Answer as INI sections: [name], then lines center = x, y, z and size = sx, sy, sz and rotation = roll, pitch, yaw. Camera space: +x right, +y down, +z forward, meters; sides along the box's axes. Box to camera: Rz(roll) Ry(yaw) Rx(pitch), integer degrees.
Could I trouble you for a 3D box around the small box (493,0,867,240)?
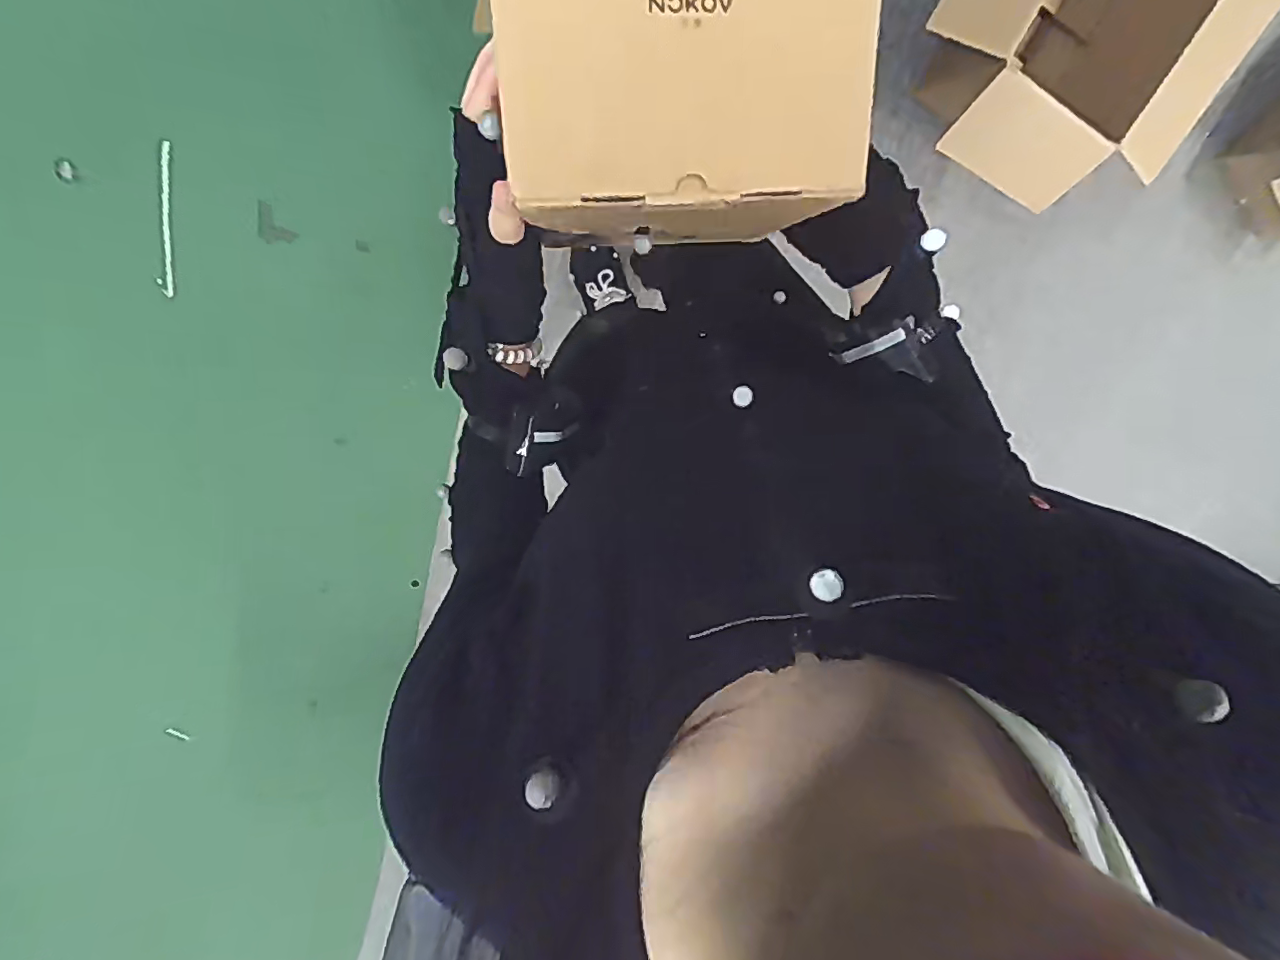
[small box]
center = 0.011, -0.242, 0.304
size = 0.168, 0.176, 0.179
rotation = -4, 109, -3
